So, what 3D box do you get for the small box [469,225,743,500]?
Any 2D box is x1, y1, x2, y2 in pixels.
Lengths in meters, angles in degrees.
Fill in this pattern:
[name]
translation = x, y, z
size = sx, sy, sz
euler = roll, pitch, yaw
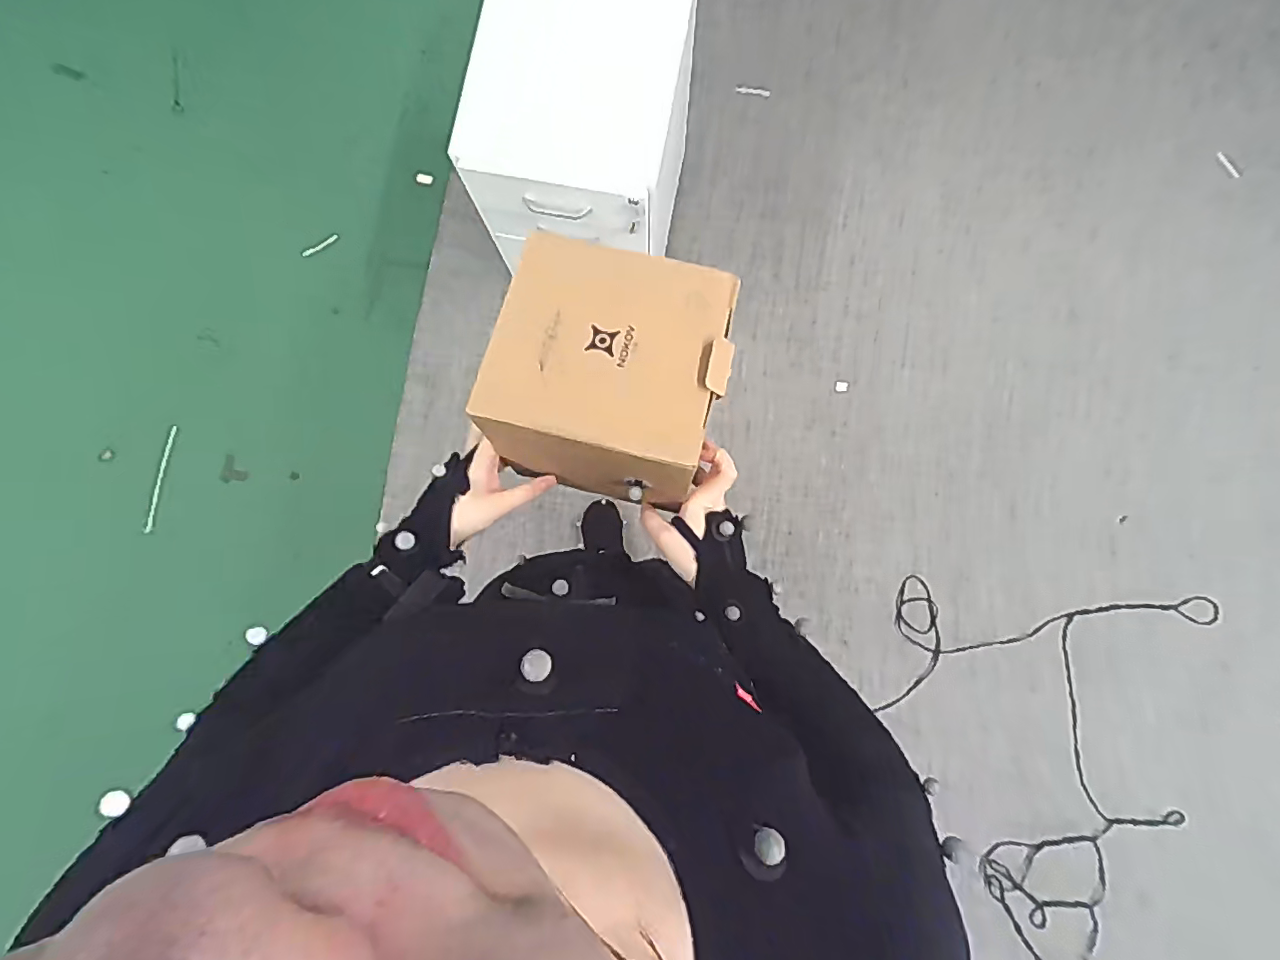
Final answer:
[small box]
translation = -0.022, -0.088, 0.484
size = 0.179, 0.176, 0.168
euler = 13, 75, 4
